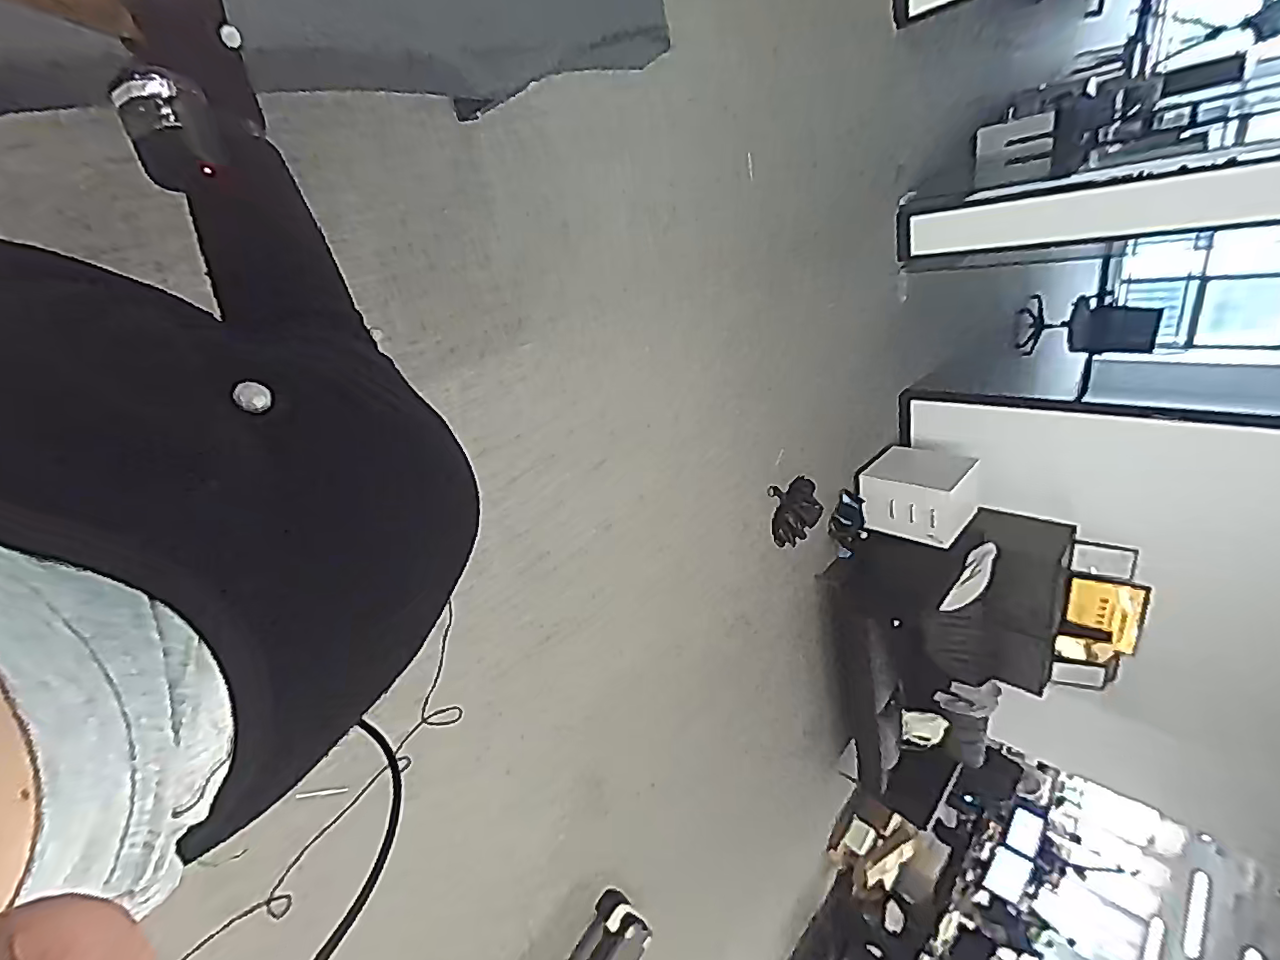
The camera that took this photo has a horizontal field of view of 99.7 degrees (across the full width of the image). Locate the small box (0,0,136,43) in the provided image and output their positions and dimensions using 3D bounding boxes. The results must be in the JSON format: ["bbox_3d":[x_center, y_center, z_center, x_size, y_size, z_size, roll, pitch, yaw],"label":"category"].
[{"bbox_3d":[-0.391,-0.392,0.292,0.168,0.176,0.179,-5,104,-42],"label":"small box"}]
